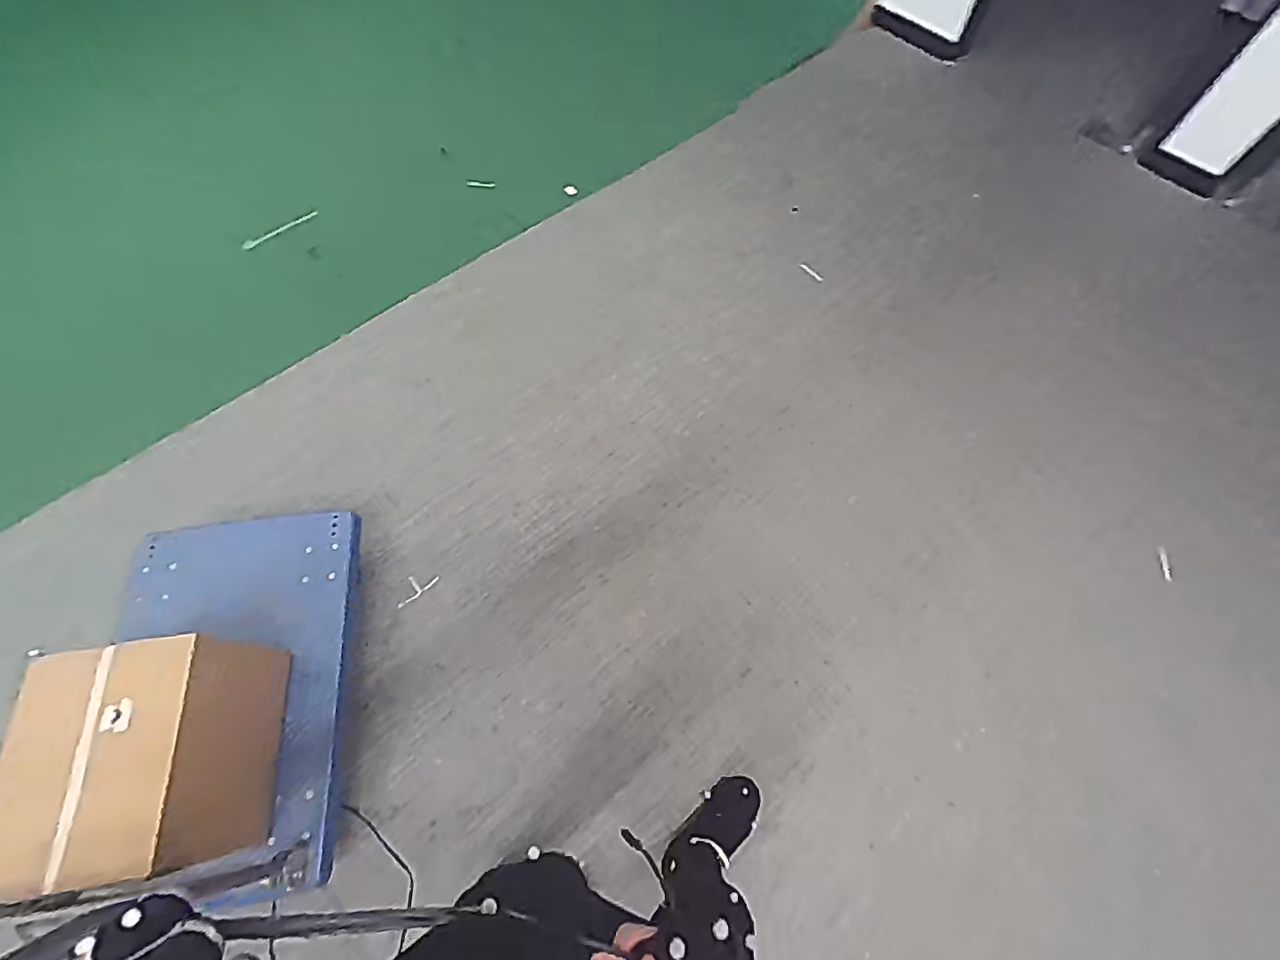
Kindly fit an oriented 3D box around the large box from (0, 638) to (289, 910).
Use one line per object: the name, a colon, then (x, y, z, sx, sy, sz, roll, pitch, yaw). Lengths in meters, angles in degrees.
large box: (-0.974, 0.570, 1.093, 0.320, 0.320, 0.408, -8, 64, -3)
